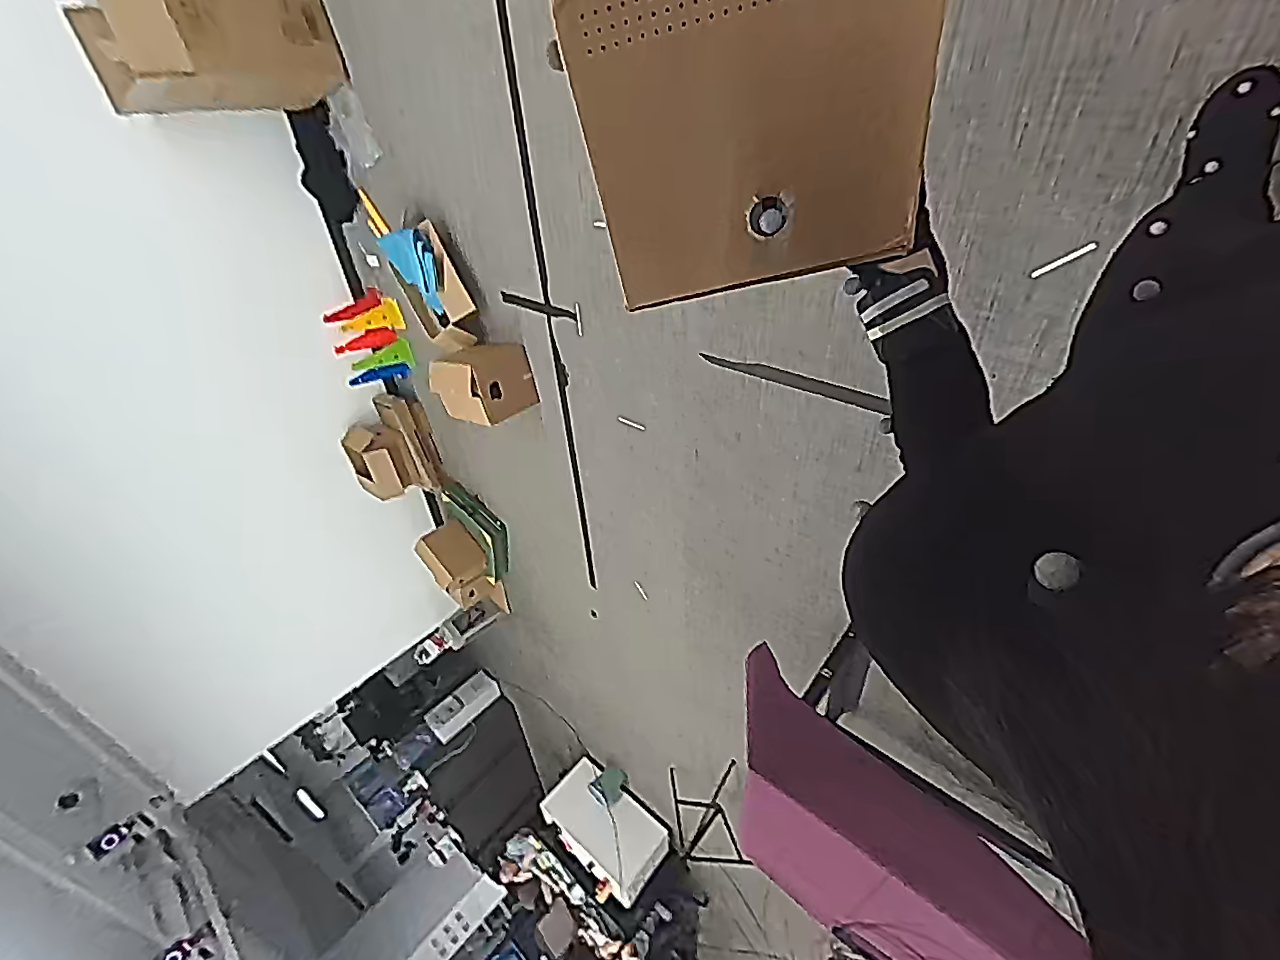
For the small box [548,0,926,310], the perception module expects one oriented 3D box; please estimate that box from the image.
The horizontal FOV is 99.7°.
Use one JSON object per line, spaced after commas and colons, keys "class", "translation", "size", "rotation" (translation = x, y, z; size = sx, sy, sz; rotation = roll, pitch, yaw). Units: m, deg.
{"class": "small box", "translation": [0.058, -0.236, 0.335], "size": [0.179, 0.168, 0.176], "rotation": [-8, 134, 11]}
